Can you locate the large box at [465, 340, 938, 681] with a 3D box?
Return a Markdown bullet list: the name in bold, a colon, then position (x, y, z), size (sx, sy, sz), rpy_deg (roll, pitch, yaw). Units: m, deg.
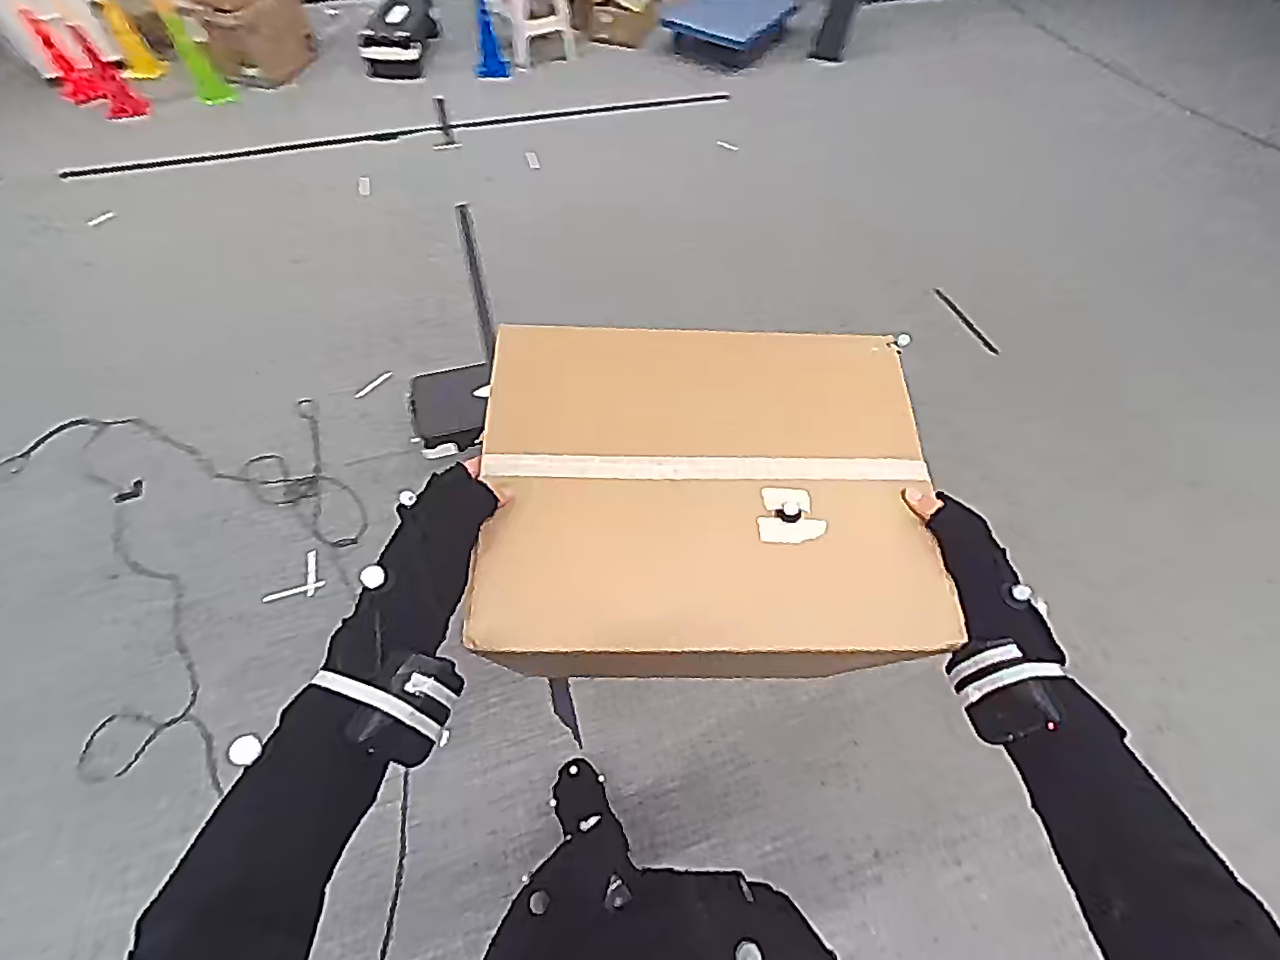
- **large box**: position (0.041, 0.054, 0.638), size (0.408, 0.320, 0.320), rpy_deg (0, 66, -4)
